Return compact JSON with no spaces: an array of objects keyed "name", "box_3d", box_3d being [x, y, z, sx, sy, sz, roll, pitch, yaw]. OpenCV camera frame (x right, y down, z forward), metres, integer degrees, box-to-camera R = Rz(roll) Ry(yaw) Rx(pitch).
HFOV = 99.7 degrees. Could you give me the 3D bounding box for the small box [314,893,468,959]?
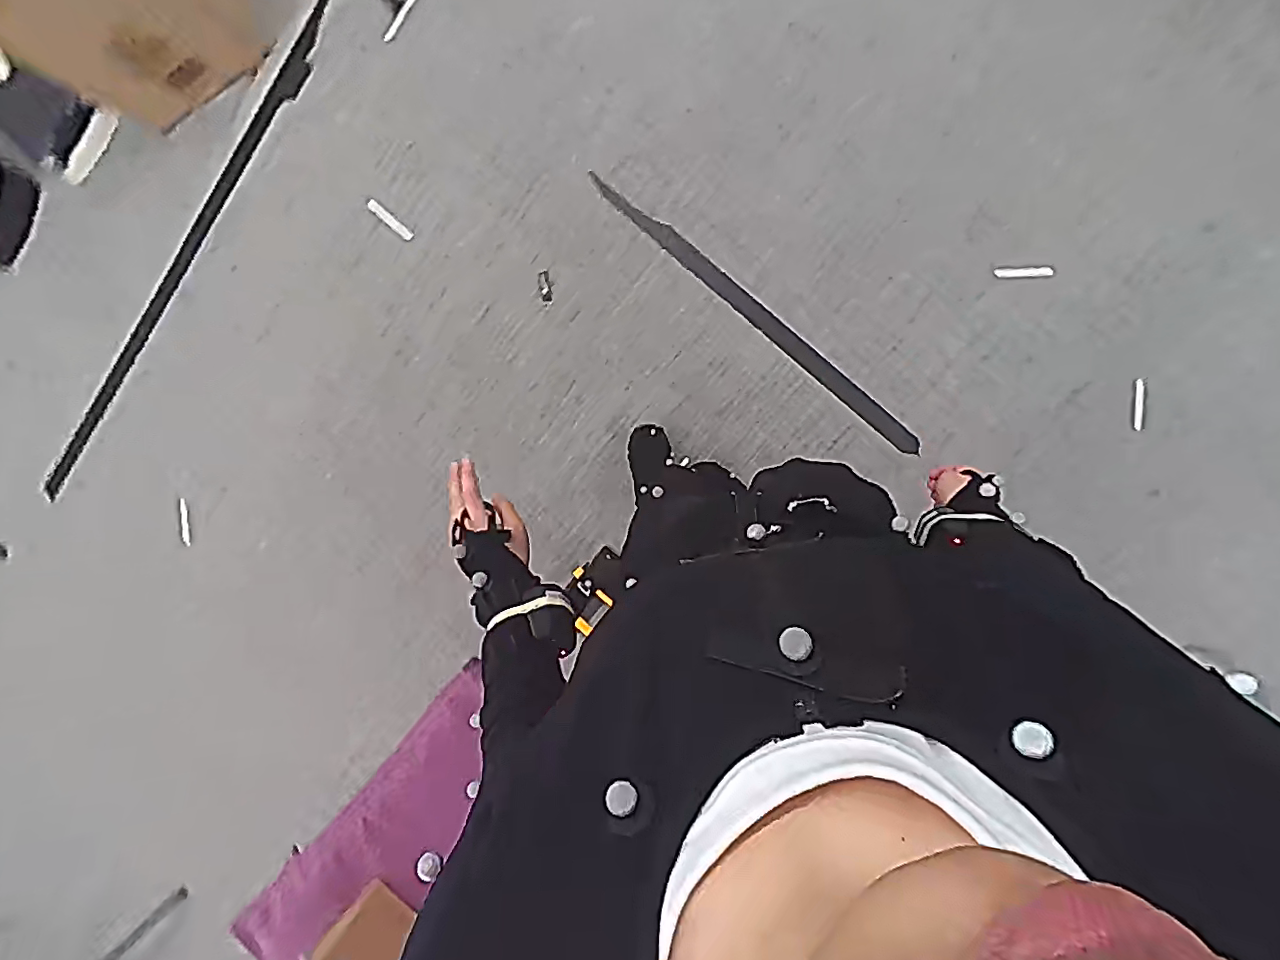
[{"name":"small box","box_3d":[-0.365,0.696,0.706,0.179,0.176,0.168,40,99,2]}]
